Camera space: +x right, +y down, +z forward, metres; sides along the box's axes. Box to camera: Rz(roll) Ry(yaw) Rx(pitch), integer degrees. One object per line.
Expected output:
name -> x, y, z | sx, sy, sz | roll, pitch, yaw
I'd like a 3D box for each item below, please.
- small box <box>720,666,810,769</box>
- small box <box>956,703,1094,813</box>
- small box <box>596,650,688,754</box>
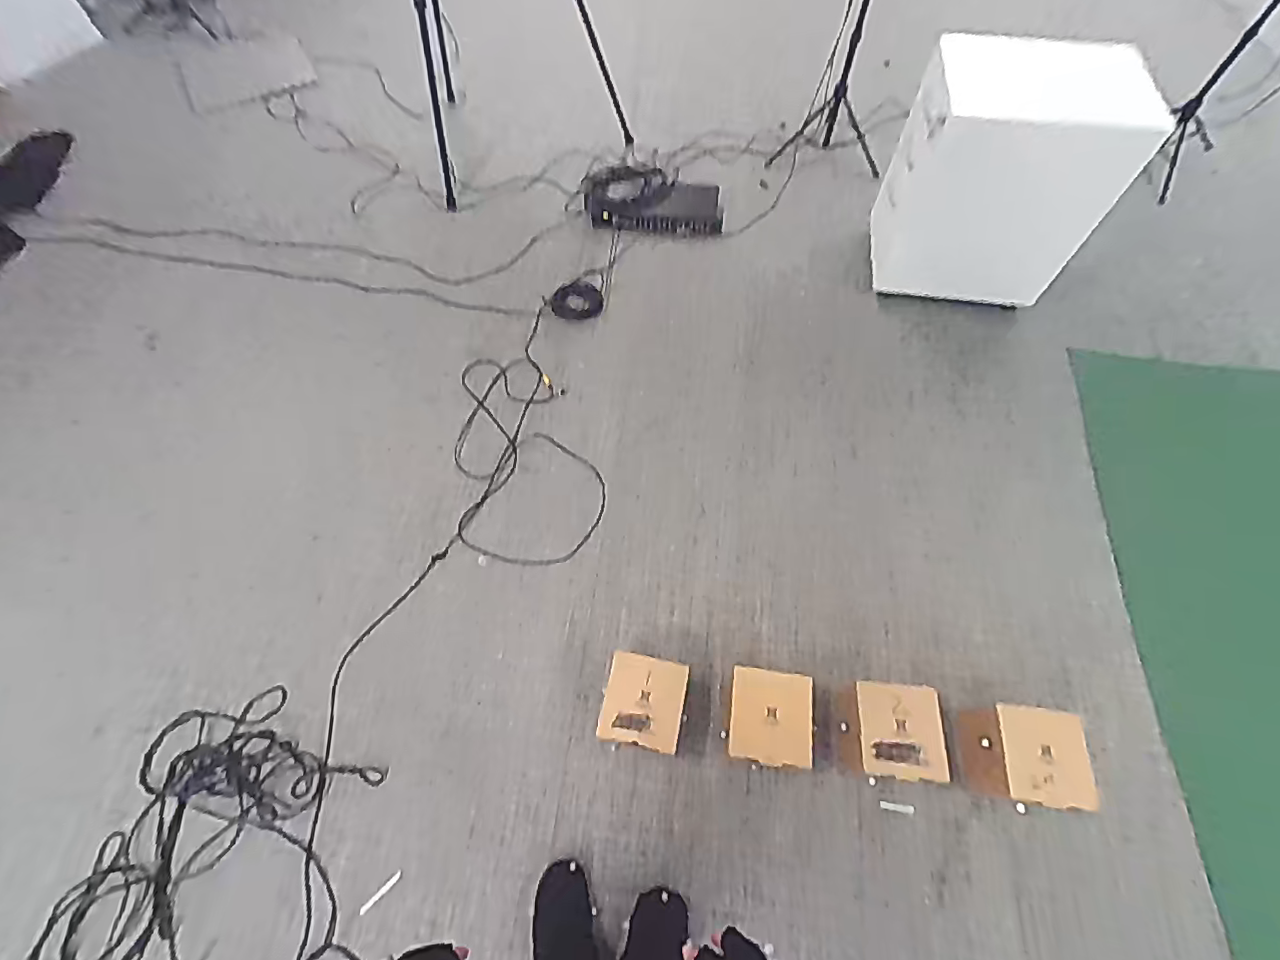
small box -> 0.270, 0.524, 1.184 | 0.168, 0.176, 0.179 | 7, 62, 6
small box -> 0.795, 0.584, 1.141 | 0.168, 0.176, 0.179 | 7, 63, 6
small box -> 0.010, 0.499, 1.203 | 0.168, 0.176, 0.179 | 11, 62, 7
